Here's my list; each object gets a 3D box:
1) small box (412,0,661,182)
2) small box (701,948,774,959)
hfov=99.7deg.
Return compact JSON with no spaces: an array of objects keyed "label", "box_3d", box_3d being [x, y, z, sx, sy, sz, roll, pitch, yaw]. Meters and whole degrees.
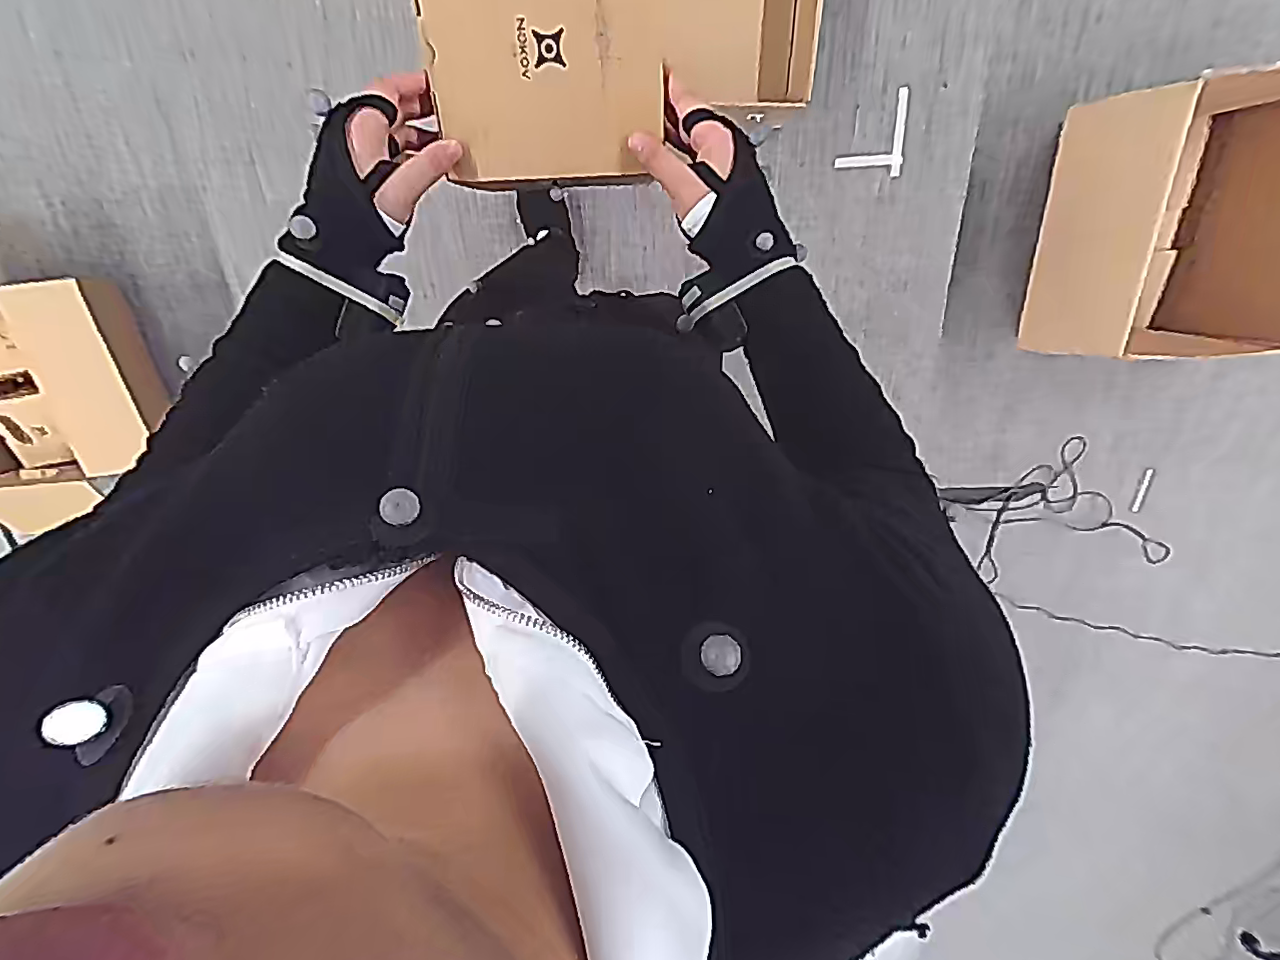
[{"label":"small box","box_3d":[-0.076,-0.357,0.463,0.179,0.176,0.168,-4,117,-2]},{"label":"small box","box_3d":[0.226,1.149,1.163,0.168,0.176,0.179,-8,113,1]}]
